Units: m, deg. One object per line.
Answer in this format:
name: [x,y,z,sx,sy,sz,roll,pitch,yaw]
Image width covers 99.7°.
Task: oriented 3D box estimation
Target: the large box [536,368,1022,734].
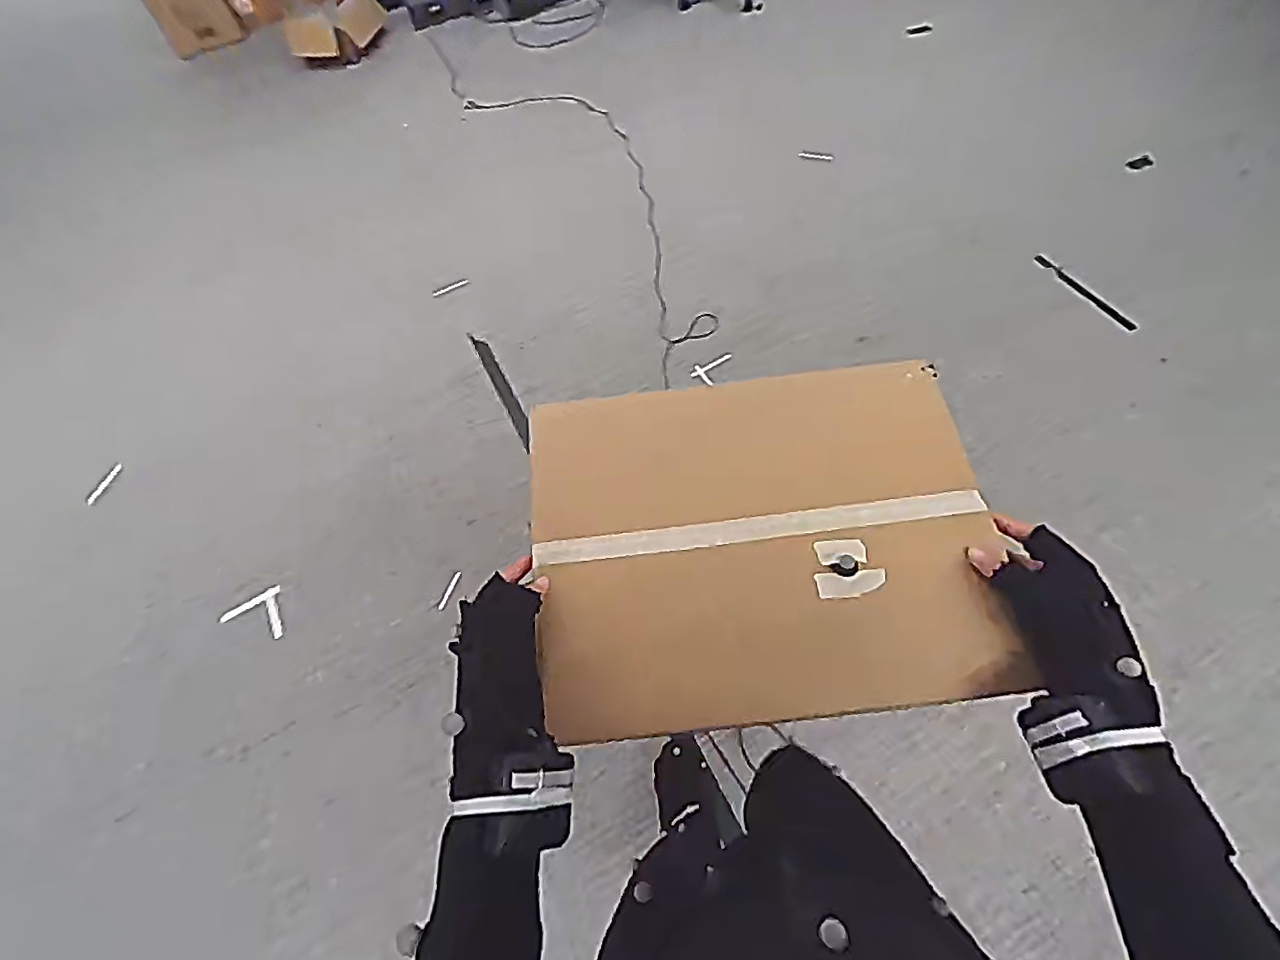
large box: [0.110,0.105,0.639,0.408,0.320,0.320,-6,67,1]
